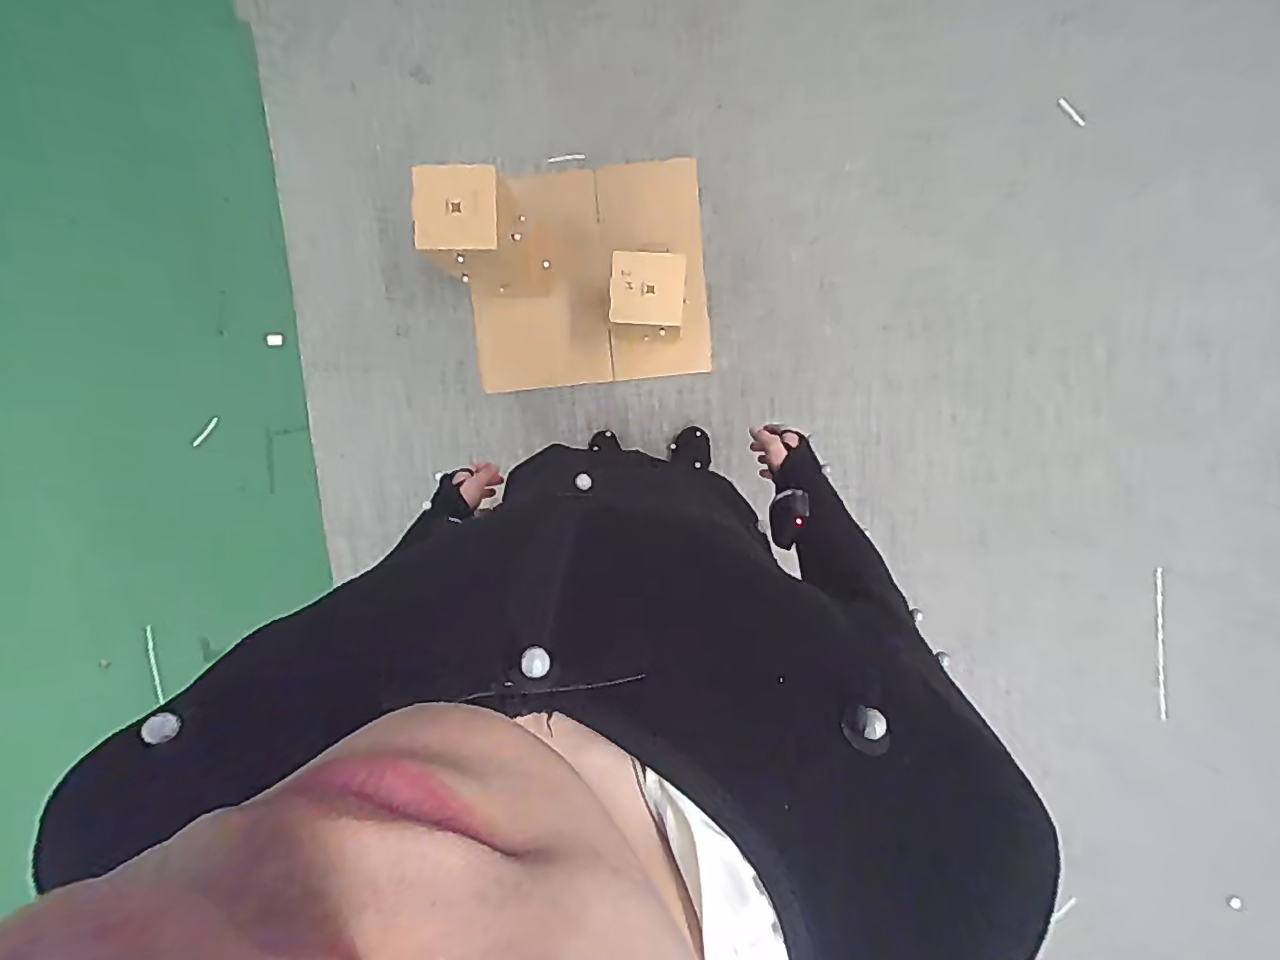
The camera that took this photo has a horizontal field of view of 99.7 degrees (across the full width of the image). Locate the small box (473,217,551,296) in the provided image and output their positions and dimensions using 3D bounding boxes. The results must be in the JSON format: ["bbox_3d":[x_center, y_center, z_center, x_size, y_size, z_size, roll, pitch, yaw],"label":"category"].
[{"bbox_3d":[-0.355,-0.618,1.512,0.179,0.176,0.168,0,96,3],"label":"small box"}]

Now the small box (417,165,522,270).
[{"bbox_3d":[-0.369,-0.568,1.188,0.179,0.176,0.168,2,97,2],"label":"small box"}]

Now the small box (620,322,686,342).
[{"bbox_3d":[0.038,-0.483,1.507,0.179,0.176,0.168,1,96,4],"label":"small box"}]

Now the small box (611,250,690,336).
[{"bbox_3d":[0.029,-0.458,1.343,0.179,0.176,0.168,5,96,4],"label":"small box"}]
